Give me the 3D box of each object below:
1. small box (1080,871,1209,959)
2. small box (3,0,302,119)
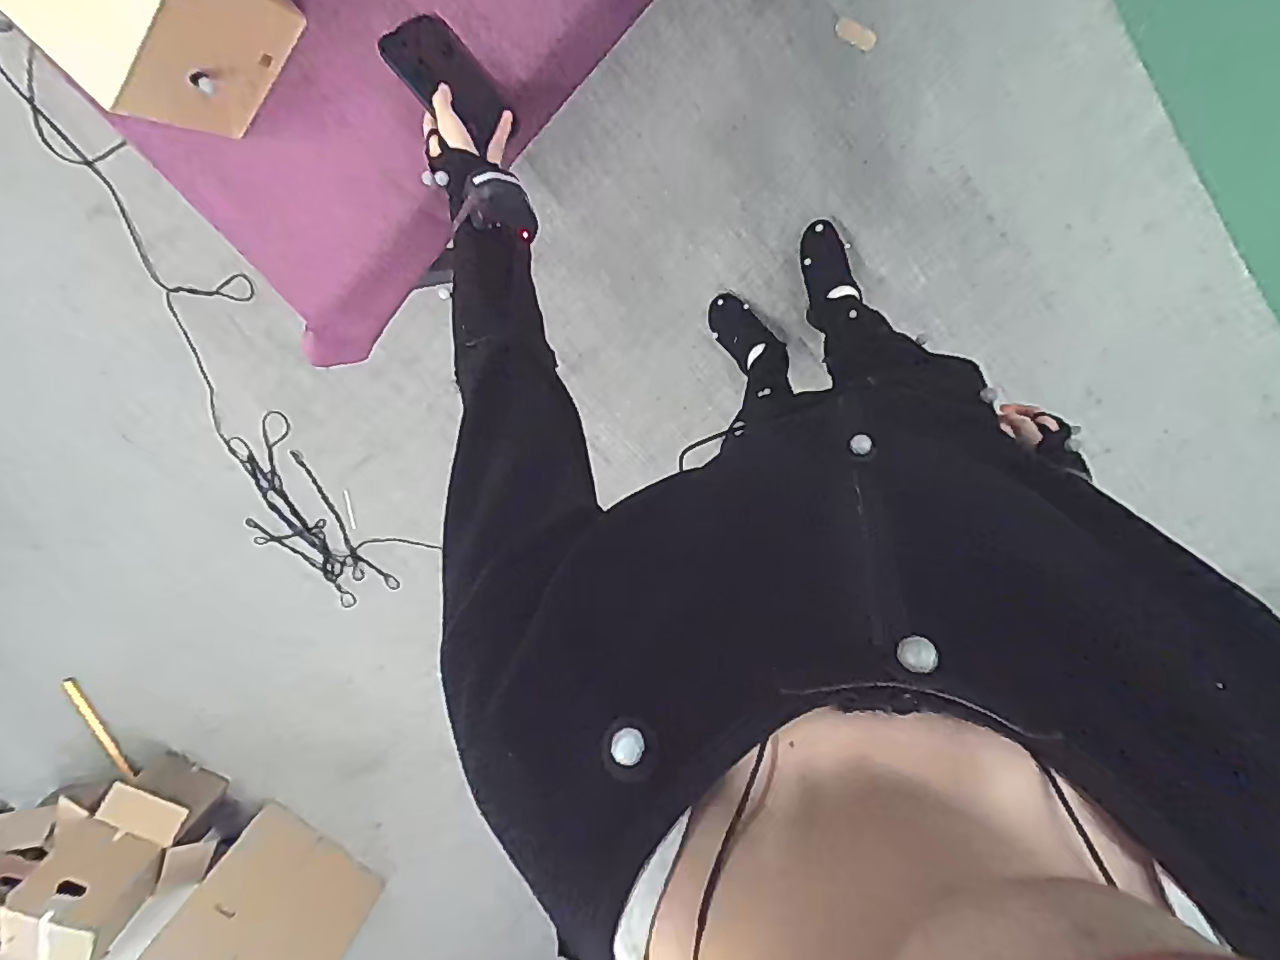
[{"bbox_3d":[1.248,1.116,1.332,0.168,0.176,0.179,-34,105,17],"label":"small box"},{"bbox_3d":[-0.490,-0.497,0.536,0.168,0.176,0.179,-38,103,20],"label":"small box"}]
